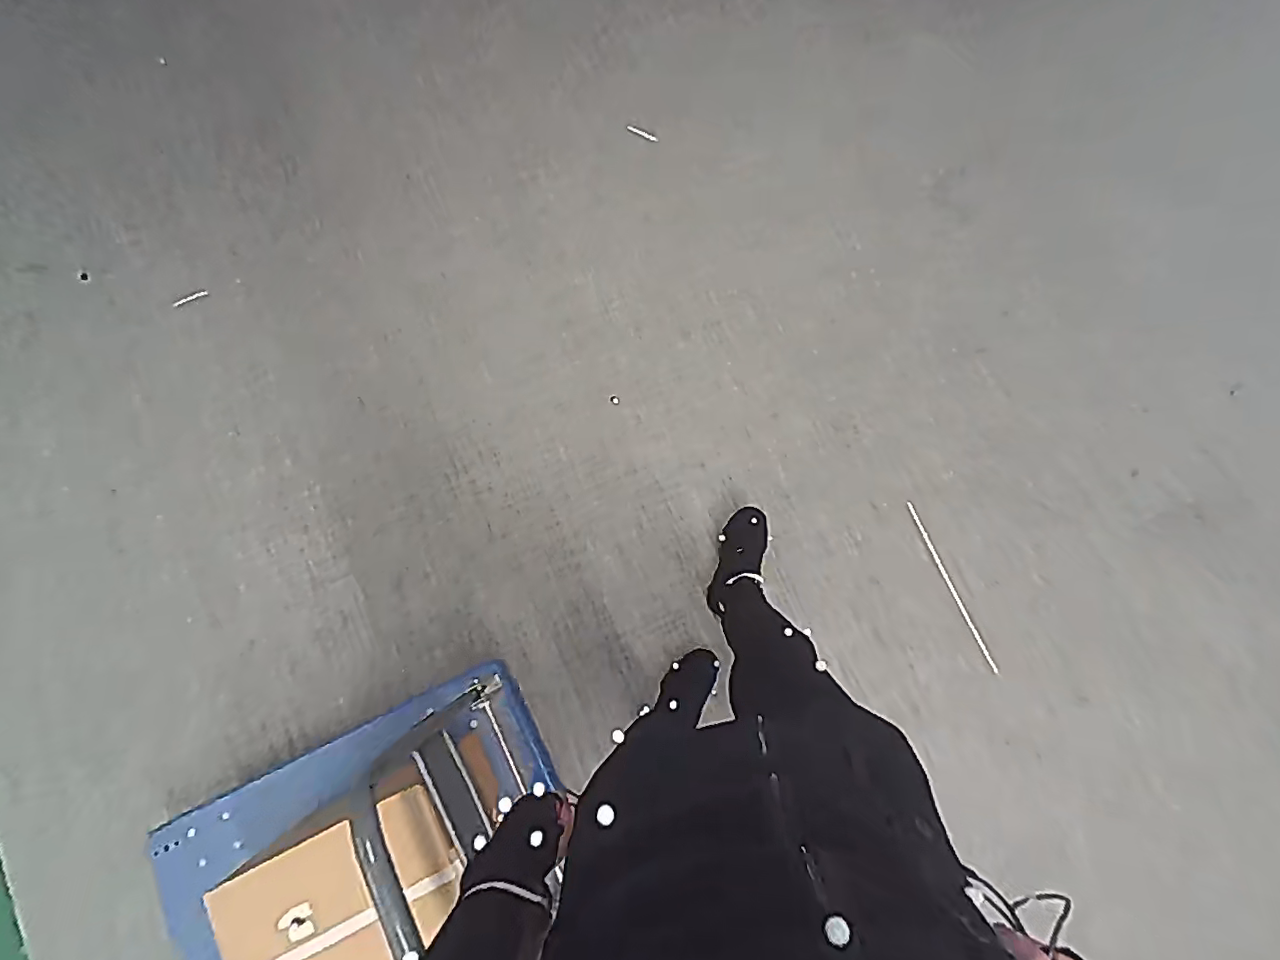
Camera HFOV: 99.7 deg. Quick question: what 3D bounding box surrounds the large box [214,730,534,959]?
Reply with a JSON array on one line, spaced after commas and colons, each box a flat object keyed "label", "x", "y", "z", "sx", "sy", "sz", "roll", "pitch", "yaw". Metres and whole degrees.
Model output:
[{"label": "large box", "x": -0.476, "y": 0.764, "z": 1.051, "sx": 0.408, "sy": 0.320, "sz": 0.320, "roll": -26, "pitch": 82, "yaw": -2}]
